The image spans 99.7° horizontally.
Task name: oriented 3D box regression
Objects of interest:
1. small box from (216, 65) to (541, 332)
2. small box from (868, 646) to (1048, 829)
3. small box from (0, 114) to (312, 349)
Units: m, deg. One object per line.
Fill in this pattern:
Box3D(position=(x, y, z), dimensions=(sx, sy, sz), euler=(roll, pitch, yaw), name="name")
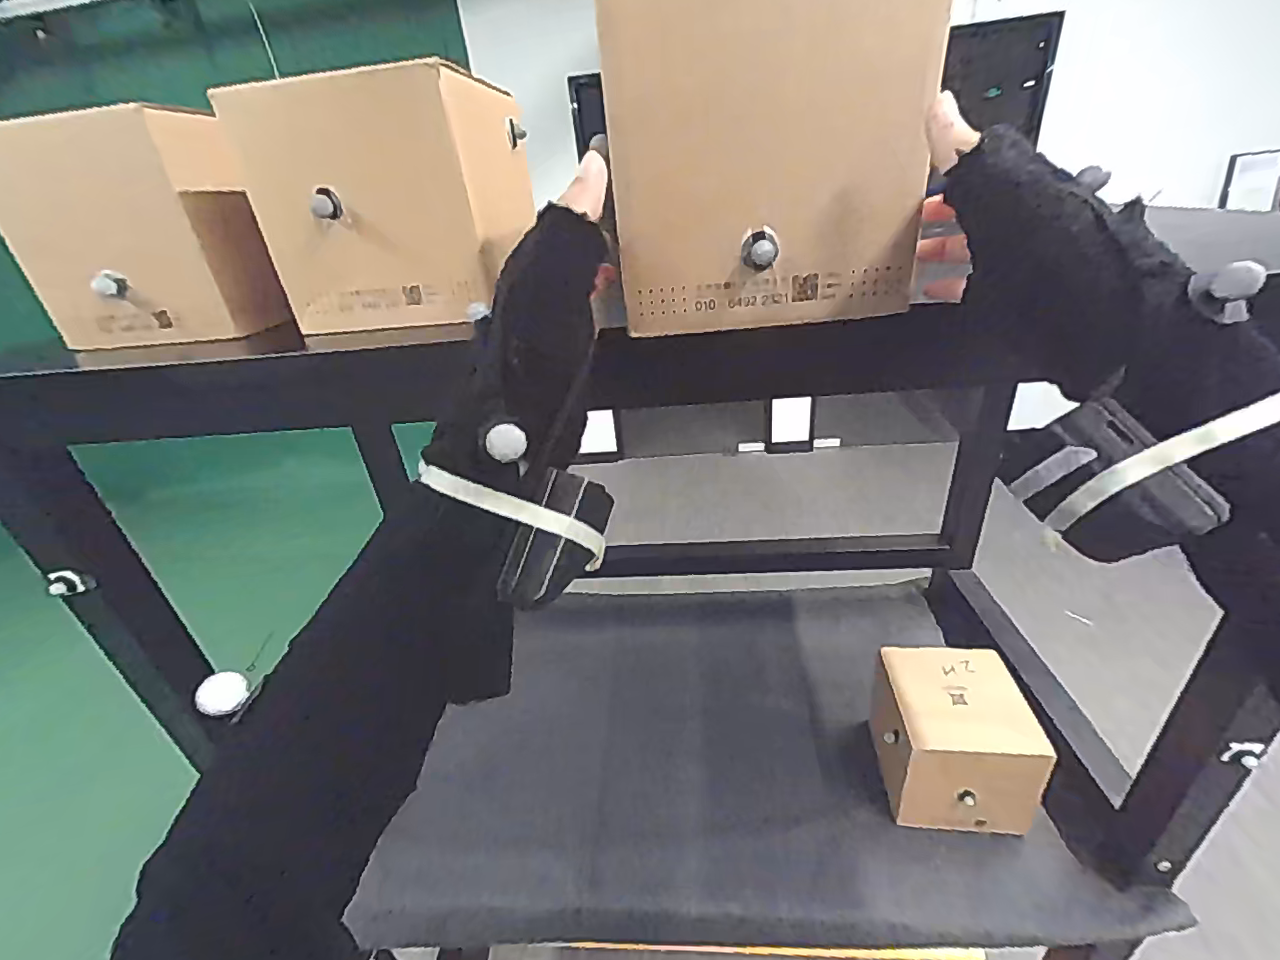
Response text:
Box3D(position=(-0.195, -0.229, 0.470), dimensions=(0.168, 0.176, 0.179), euler=(-2, 28, 8), name="small box")
Box3D(position=(0.436, 0.364, 0.775), dimensions=(0.168, 0.176, 0.179), euler=(-1, 28, 10), name="small box")
Box3D(position=(-0.417, -0.228, 0.508), dimensions=(0.168, 0.176, 0.179), euler=(-2, 29, 7), name="small box")
